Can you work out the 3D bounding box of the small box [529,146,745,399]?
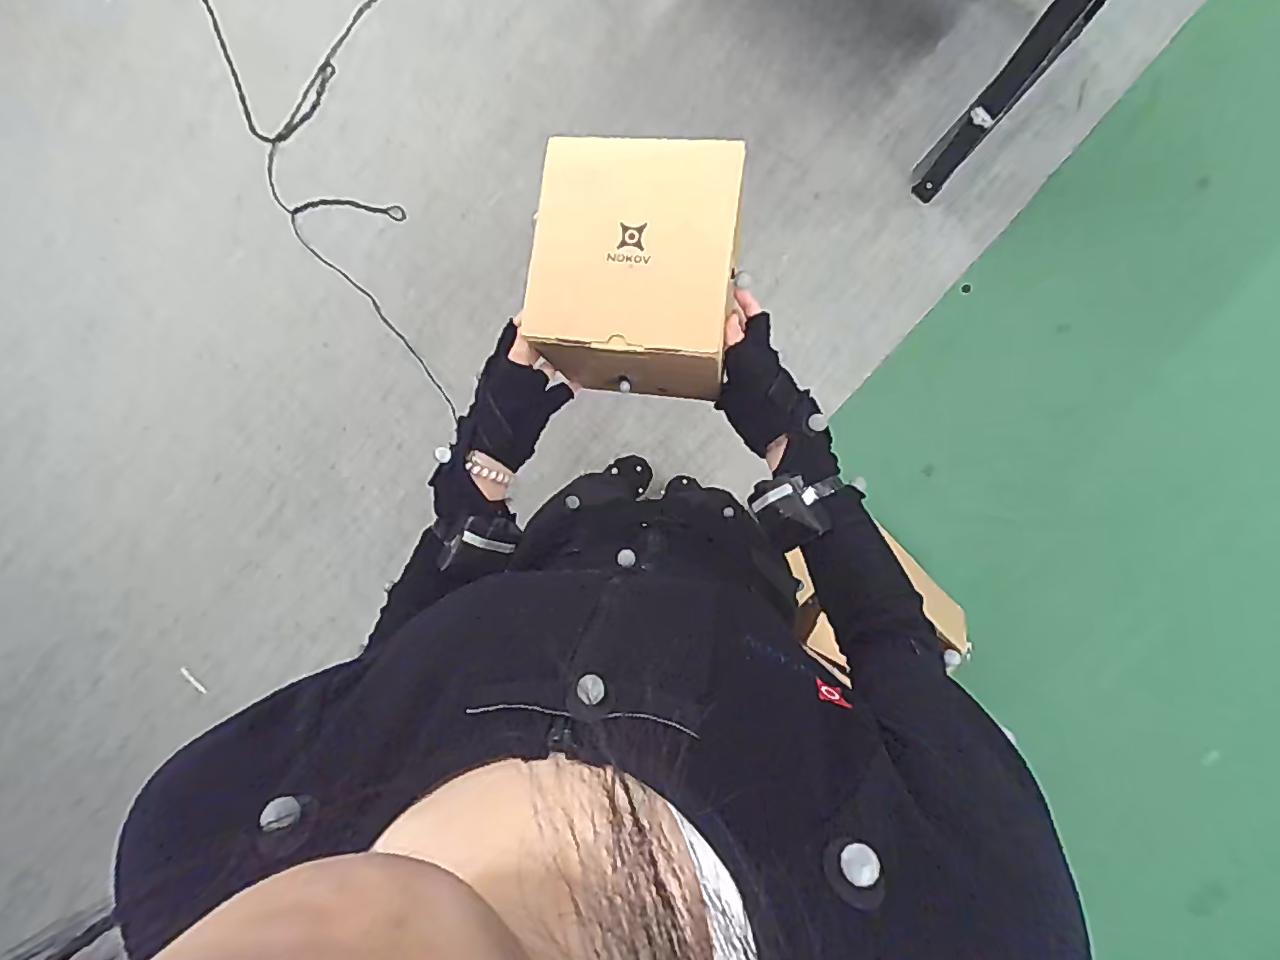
[{"bbox_3d":[0.006,-0.189,0.533,0.168,0.176,0.179,7,89,9],"label":"small box"}]
